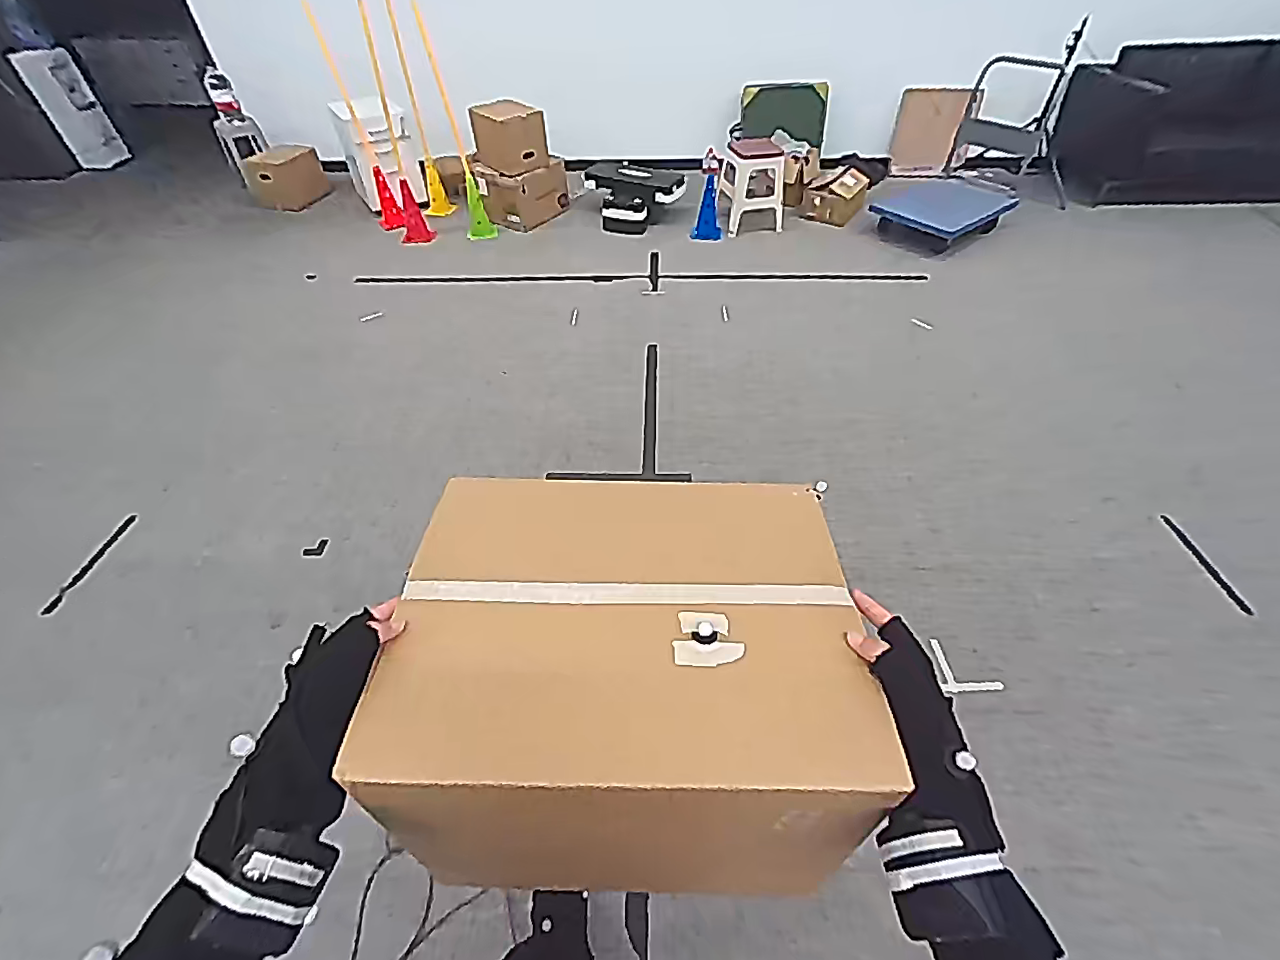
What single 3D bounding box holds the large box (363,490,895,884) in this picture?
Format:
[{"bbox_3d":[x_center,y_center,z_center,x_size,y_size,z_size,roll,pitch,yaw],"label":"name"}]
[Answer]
[{"bbox_3d":[-0.010,0.226,0.604,0.408,0.320,0.320,1,42,0],"label":"large box"}]
